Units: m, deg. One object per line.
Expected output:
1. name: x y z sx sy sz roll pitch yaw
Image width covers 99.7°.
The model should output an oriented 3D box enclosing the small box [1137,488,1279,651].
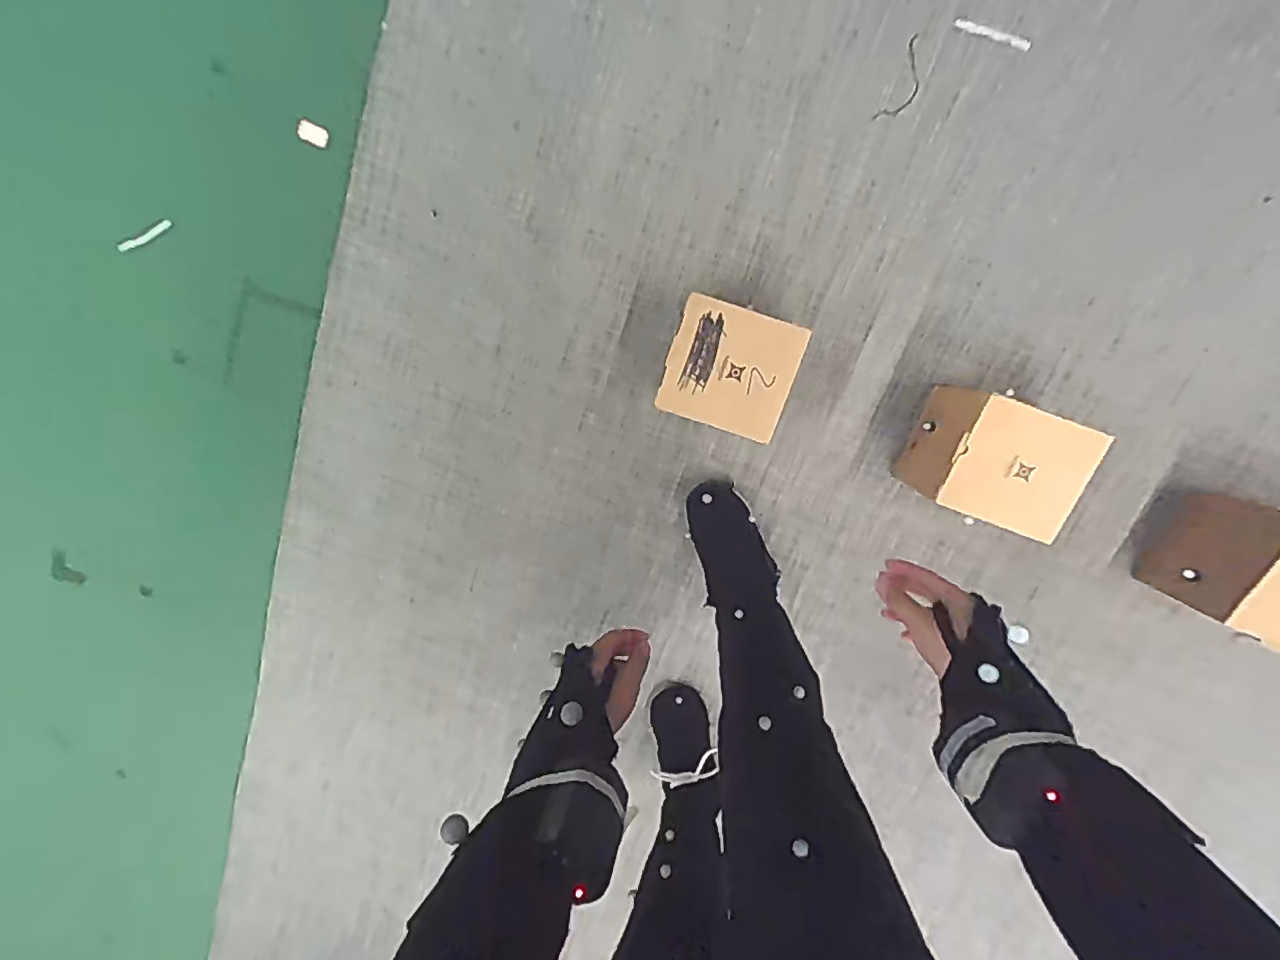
1. small box: 0.915 0.135 0.810 0.168 0.176 0.179 24 104 -1

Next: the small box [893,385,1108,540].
1. small box: 0.520 -0.037 0.810 0.179 0.176 0.168 21 105 1
